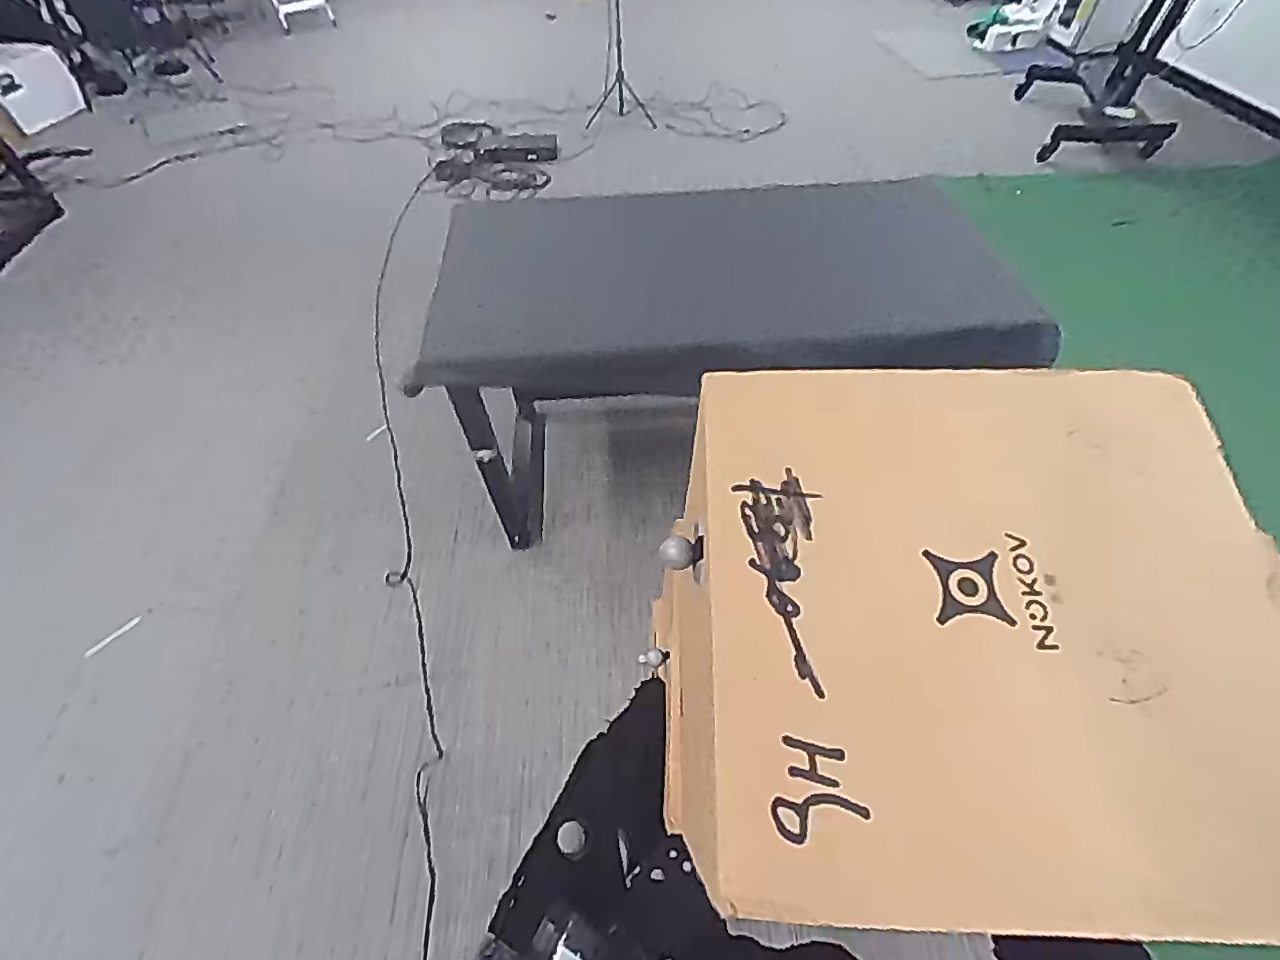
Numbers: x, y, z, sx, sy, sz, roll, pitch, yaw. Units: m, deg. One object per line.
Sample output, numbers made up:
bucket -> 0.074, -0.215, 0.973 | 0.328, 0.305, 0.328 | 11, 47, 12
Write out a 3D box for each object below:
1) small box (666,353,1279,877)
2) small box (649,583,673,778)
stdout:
small box -> 0.107, 0.064, 0.250 | 0.179, 0.176, 0.168 | 3, 62, 1
small box -> 0.098, 0.208, 0.542 | 0.179, 0.176, 0.168 | 2, 63, 0
